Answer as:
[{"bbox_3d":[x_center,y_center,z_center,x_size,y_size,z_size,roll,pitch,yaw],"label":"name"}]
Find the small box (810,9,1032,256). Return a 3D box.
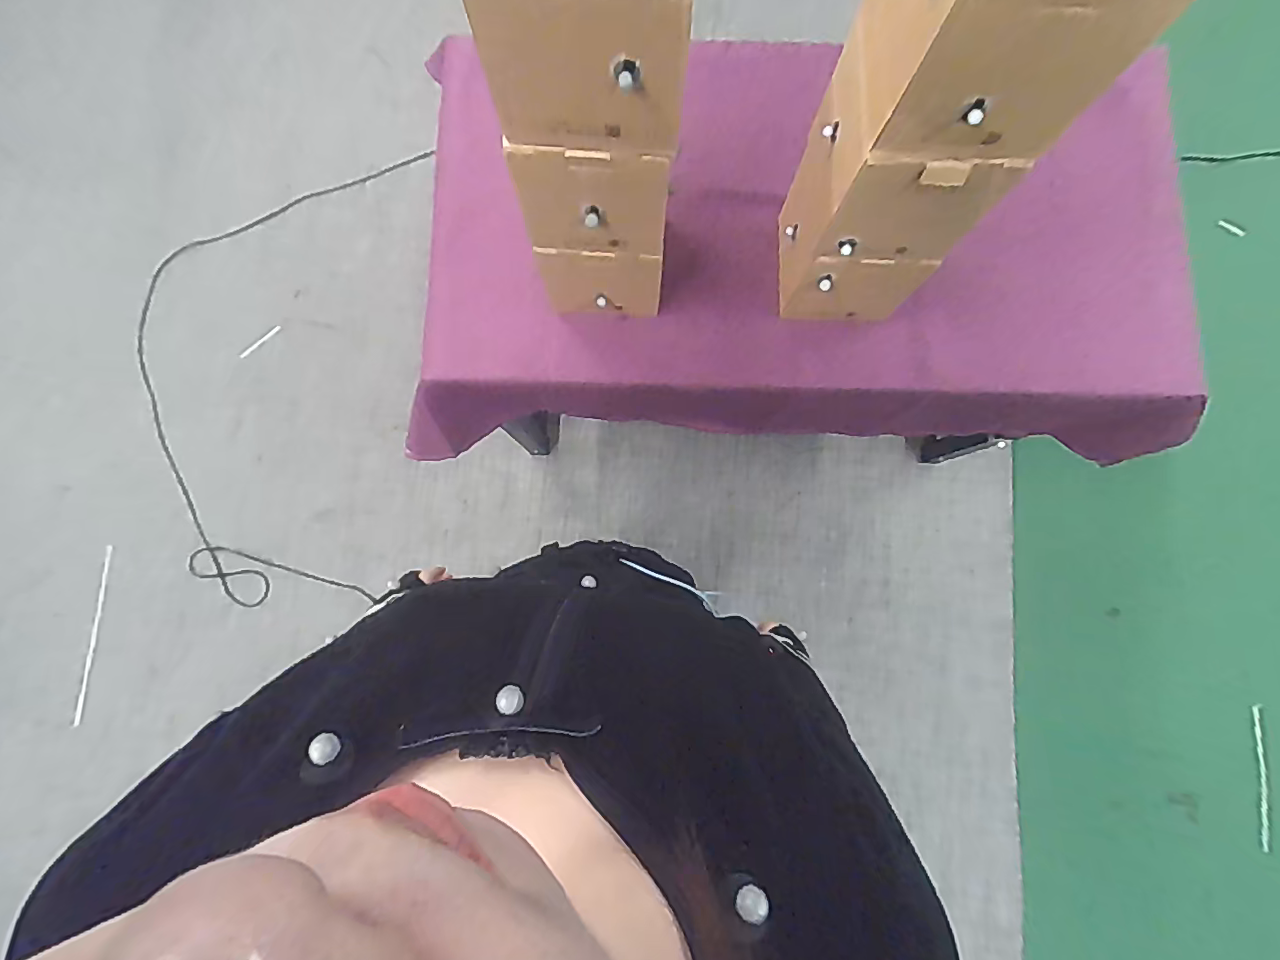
[{"bbox_3d":[0.299,-0.377,0.613,0.168,0.176,0.179,2,80,0],"label":"small box"}]

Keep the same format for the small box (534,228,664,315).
[{"bbox_3d":[-0.049,-0.358,0.772,0.168,0.176,0.179,3,82,0],"label":"small box"}]

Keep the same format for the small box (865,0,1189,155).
[{"bbox_3d":[0.303,-0.410,0.453,0.168,0.176,0.179,1,82,-1],"label":"small box"}]

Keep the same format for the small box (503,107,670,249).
[{"bbox_3d":[-0.048,-0.386,0.610,0.168,0.176,0.179,3,82,-1],"label":"small box"}]

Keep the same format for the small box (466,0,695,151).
[{"bbox_3d":[-0.036,-0.412,0.449,0.168,0.176,0.179,6,81,0],"label":"small box"}]
